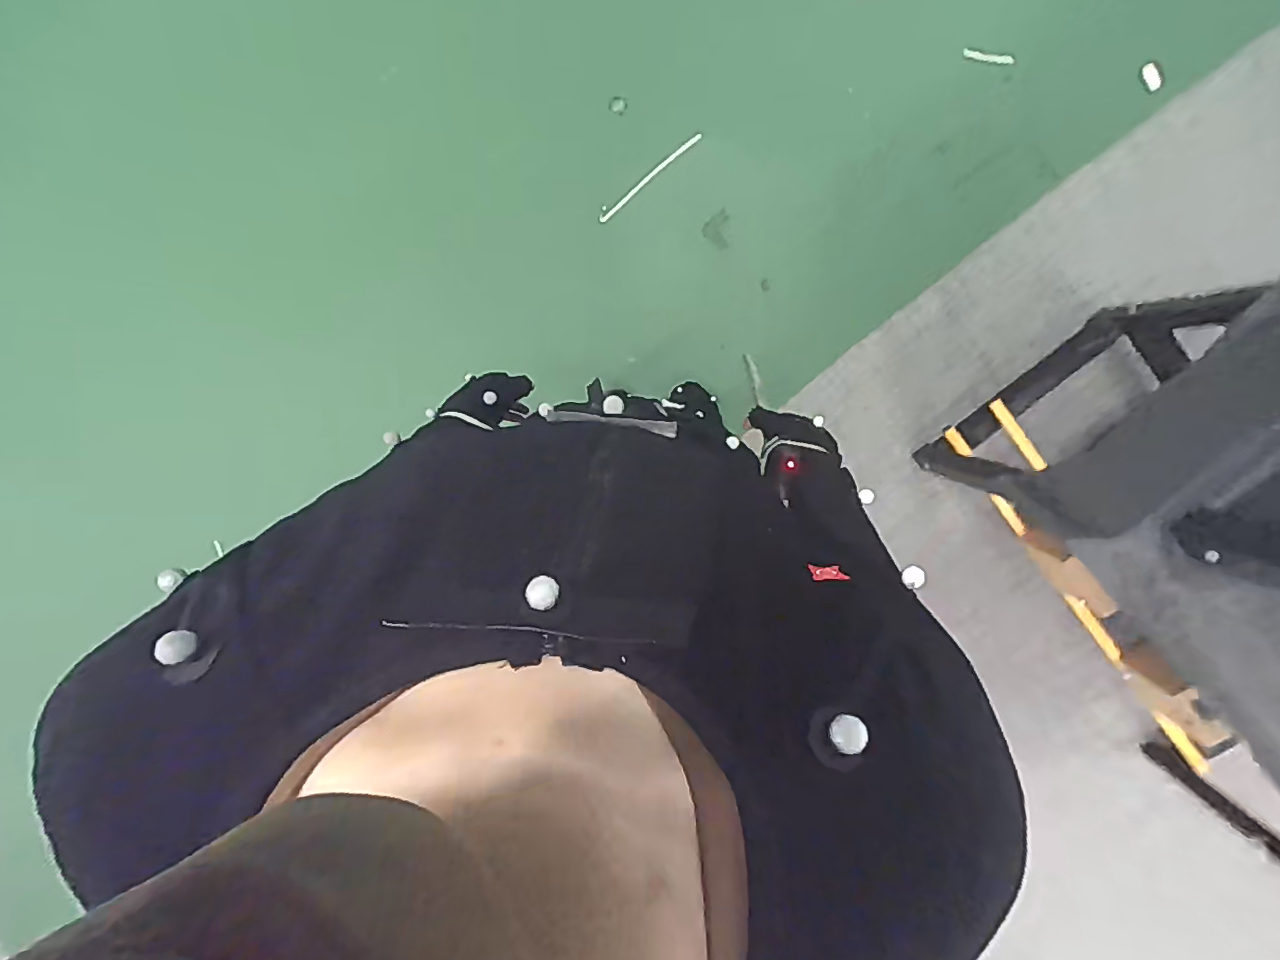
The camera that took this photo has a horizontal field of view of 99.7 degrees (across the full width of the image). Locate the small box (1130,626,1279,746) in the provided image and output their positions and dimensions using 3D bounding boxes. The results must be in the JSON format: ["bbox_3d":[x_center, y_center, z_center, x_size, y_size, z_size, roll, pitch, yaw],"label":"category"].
[{"bbox_3d":[1.348,0.490,1.305,0.179,0.176,0.168,-36,97,9],"label":"small box"}]
